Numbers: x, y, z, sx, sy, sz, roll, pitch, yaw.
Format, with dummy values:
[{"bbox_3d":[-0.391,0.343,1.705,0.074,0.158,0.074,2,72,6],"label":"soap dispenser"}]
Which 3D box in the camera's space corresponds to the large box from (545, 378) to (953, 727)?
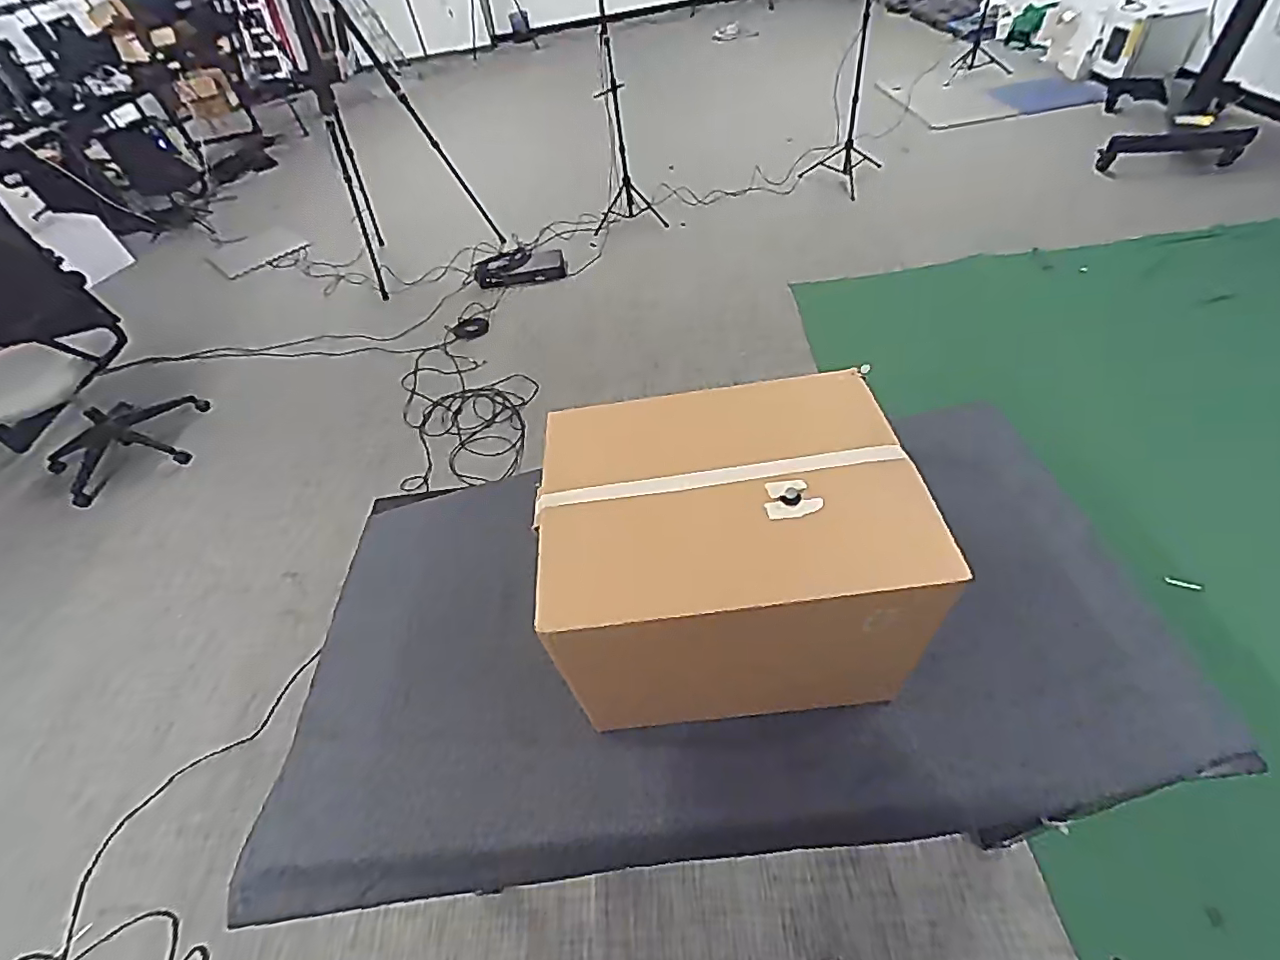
[{"bbox_3d":[0.107,0.105,0.724,0.408,0.320,0.320,-8,49,2],"label":"large box"}]
